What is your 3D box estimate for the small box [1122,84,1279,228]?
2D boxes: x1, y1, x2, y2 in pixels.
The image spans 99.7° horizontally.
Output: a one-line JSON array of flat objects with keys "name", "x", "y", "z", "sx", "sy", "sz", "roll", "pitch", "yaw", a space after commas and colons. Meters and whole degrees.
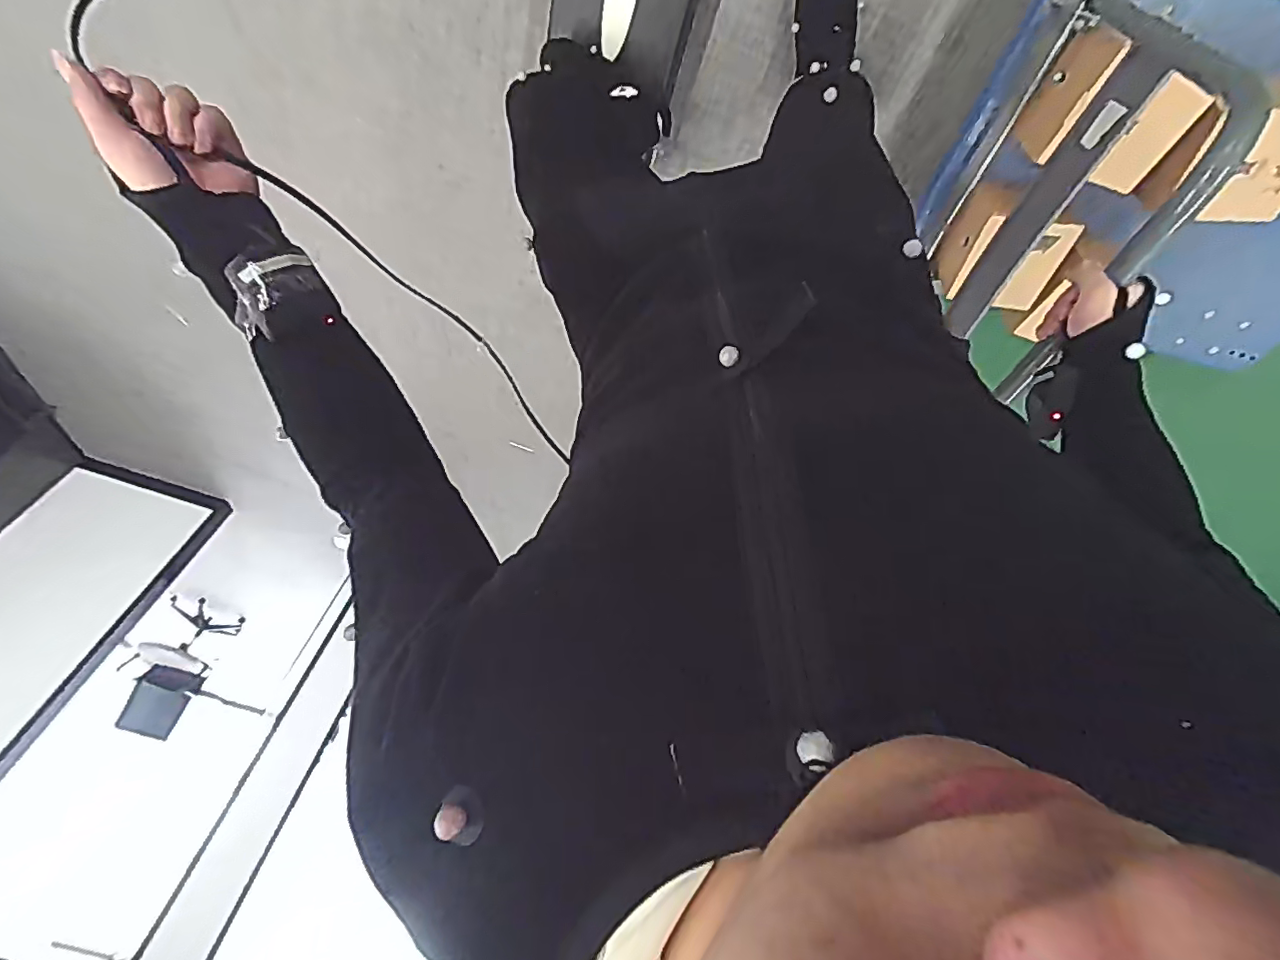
[{"name": "small box", "x": 0.979, "y": -0.549, "z": 0.914, "sx": 0.179, "sy": 0.176, "sz": 0.168, "roll": 7, "pitch": 140, "yaw": 10}]
